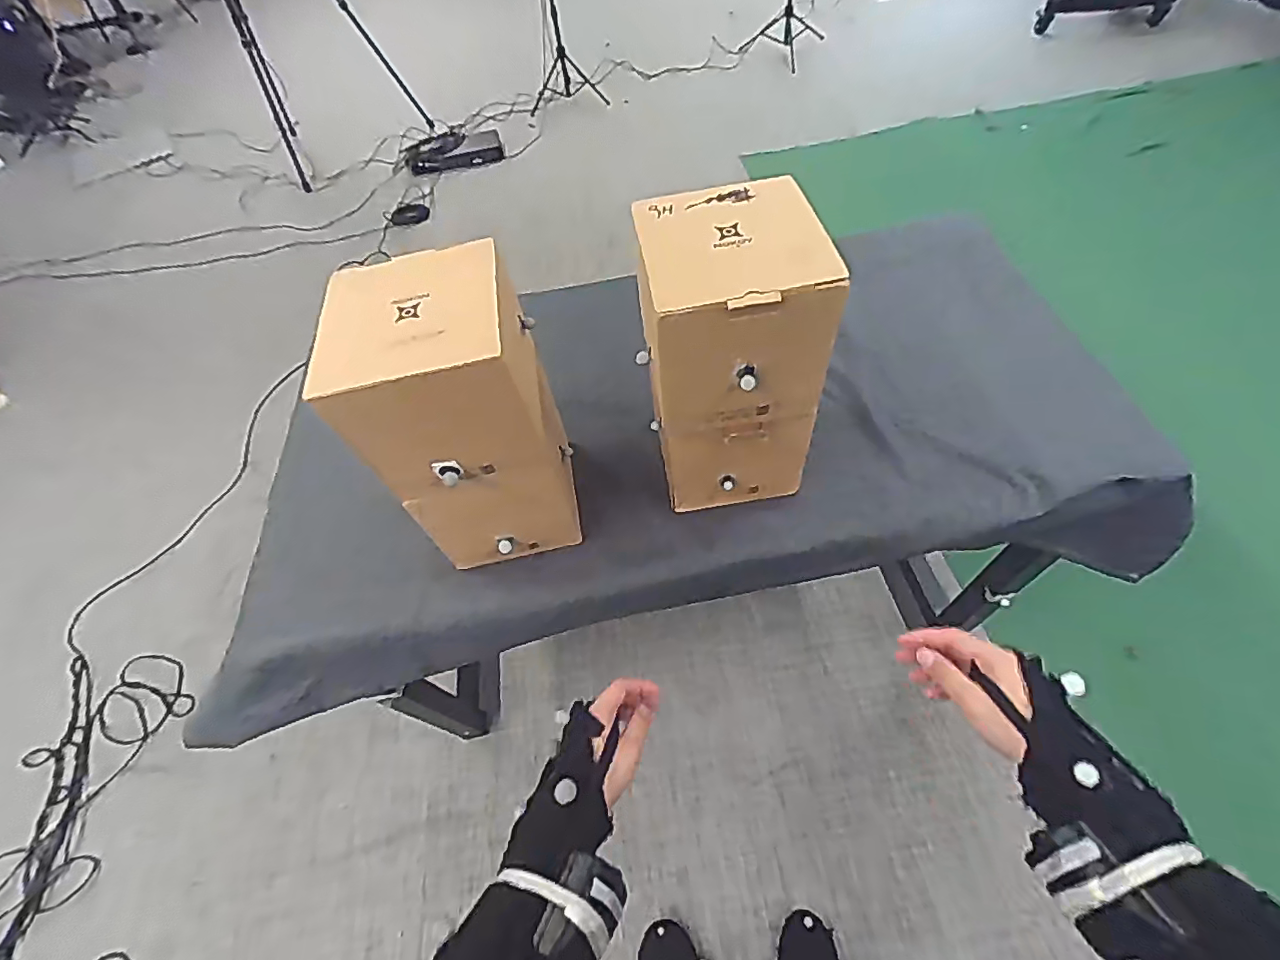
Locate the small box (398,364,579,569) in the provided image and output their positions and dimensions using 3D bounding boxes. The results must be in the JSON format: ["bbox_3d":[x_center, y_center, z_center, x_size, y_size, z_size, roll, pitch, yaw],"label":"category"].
[{"bbox_3d":[-0.179,-0.013,0.675,0.168,0.176,0.179,-13,56,-1],"label":"small box"}]

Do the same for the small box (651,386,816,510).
[{"bbox_3d":[0.105,-0.085,0.691,0.168,0.176,0.179,-10,56,0],"label":"small box"}]

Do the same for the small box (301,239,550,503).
[{"bbox_3d":[-0.196,-0.103,0.541,0.168,0.176,0.179,-14,56,-1],"label":"small box"}]

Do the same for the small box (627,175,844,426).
[{"bbox_3d":[0.086,-0.172,0.553,0.168,0.176,0.179,-10,56,0],"label":"small box"}]
